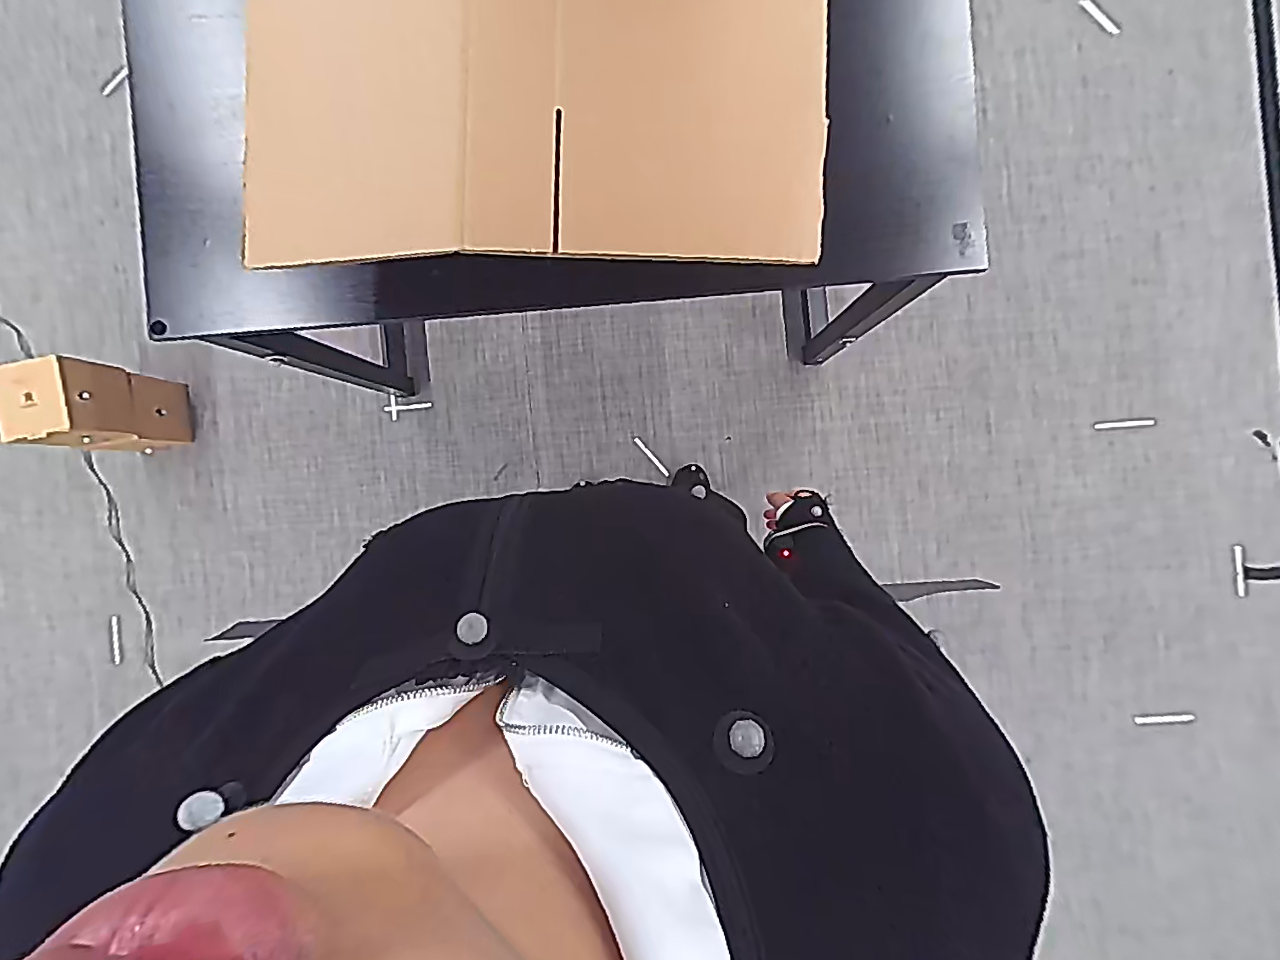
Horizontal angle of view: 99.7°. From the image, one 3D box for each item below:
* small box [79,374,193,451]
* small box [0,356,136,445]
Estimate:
[{"bbox_3d":[-1.366,-0.177,1.463,0.168,0.176,0.179,-8,91,2],"label":"small box"},{"bbox_3d":[-1.372,-0.182,1.300,0.168,0.176,0.179,-11,89,1],"label":"small box"}]
